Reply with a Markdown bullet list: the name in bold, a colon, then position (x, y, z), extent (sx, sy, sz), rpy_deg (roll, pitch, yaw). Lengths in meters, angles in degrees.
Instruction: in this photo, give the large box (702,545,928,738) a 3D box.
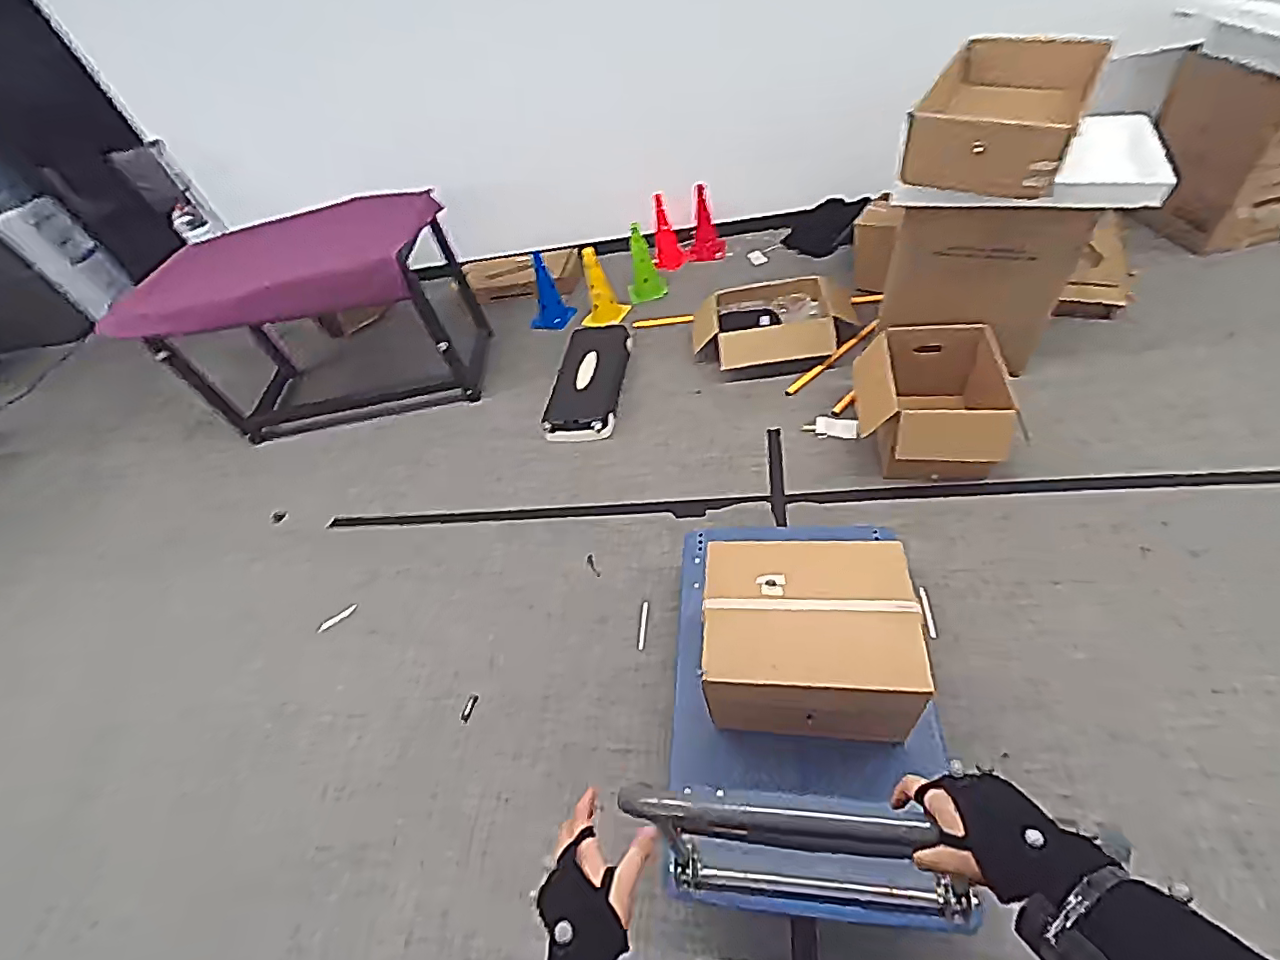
- **large box**: position (0.360, 0.359, 1.191), extent (0.408, 0.320, 0.320), rpy_deg (-2, 49, 13)
